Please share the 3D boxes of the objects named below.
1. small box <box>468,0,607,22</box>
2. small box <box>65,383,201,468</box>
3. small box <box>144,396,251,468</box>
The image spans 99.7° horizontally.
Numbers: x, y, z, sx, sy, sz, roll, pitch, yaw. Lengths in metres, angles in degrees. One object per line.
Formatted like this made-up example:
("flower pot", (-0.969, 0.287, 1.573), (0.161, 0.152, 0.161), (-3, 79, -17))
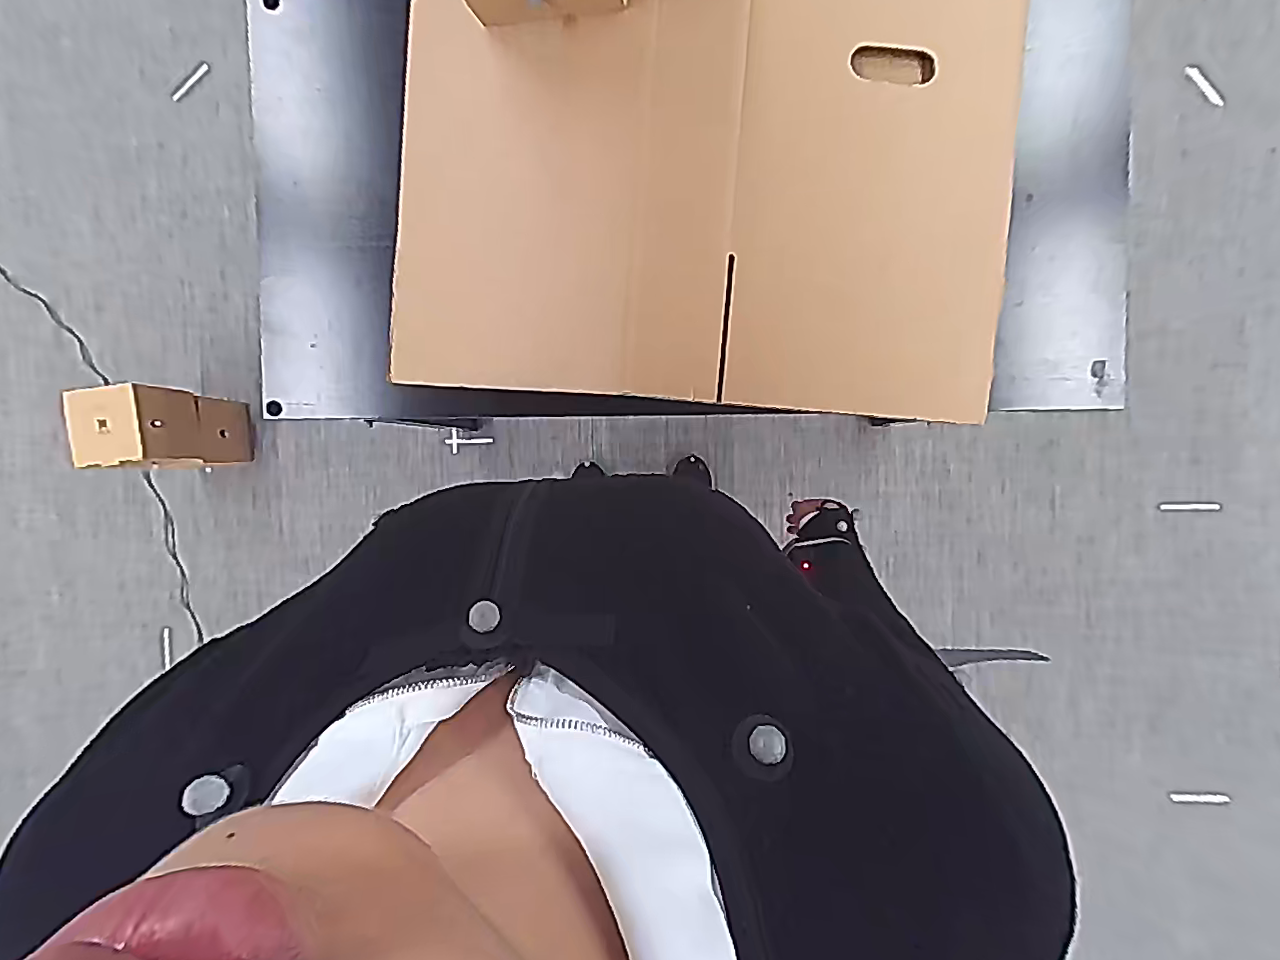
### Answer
("small box", (-0.109, -0.587, 0.512), (0.179, 0.176, 0.168), (6, 92, 14))
("small box", (-1.199, -0.125, 1.293), (0.168, 0.176, 0.179), (-7, 91, 2))
("small box", (-1.193, -0.125, 1.456), (0.168, 0.176, 0.179), (-5, 93, 2))
